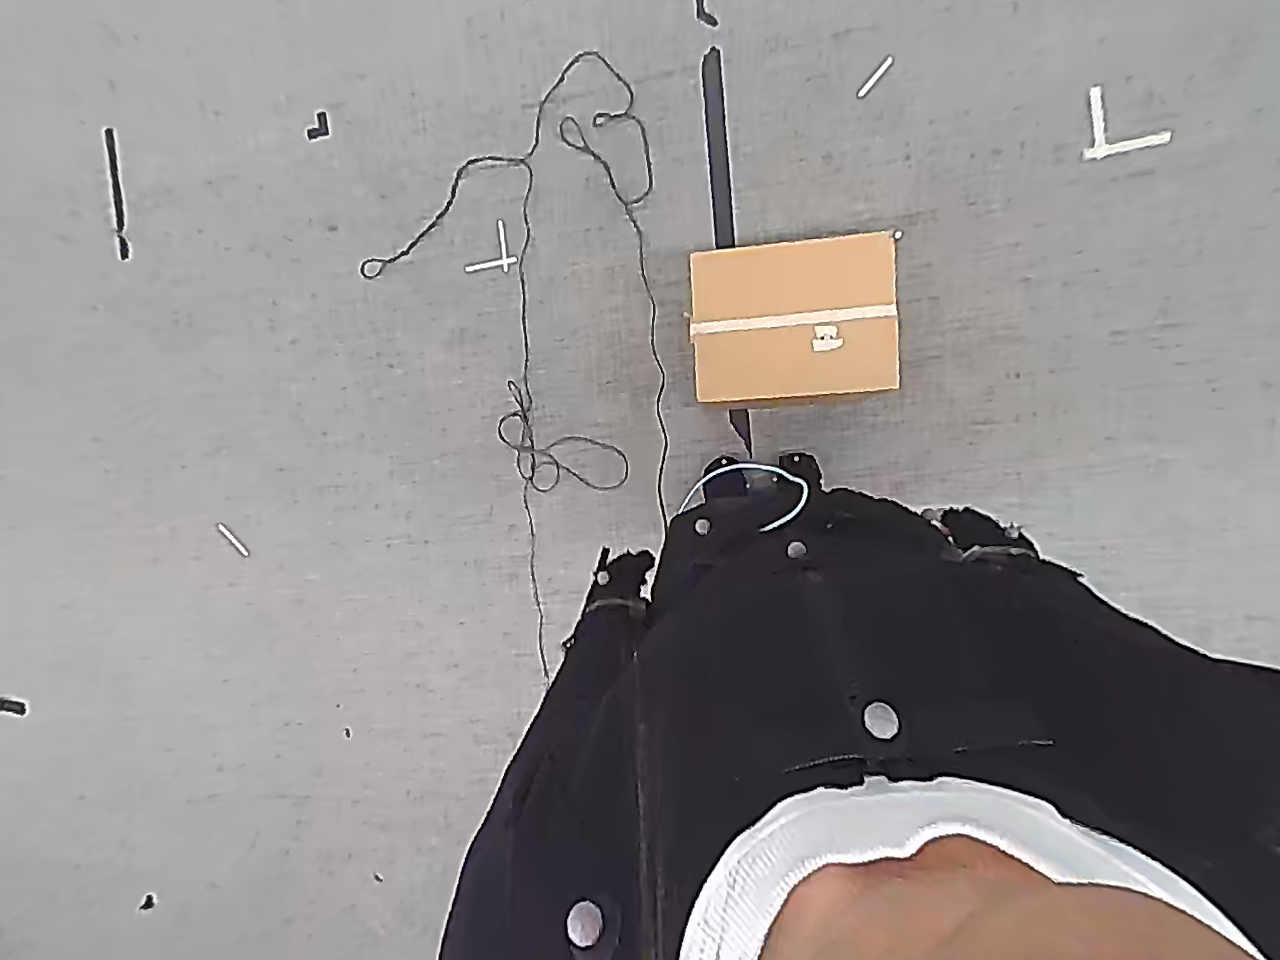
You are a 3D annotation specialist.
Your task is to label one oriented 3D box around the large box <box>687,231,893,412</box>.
[{"bbox_3d":[0.325,-0.339,1.258,0.408,0.320,0.320,-3,93,8],"label":"large box"}]
